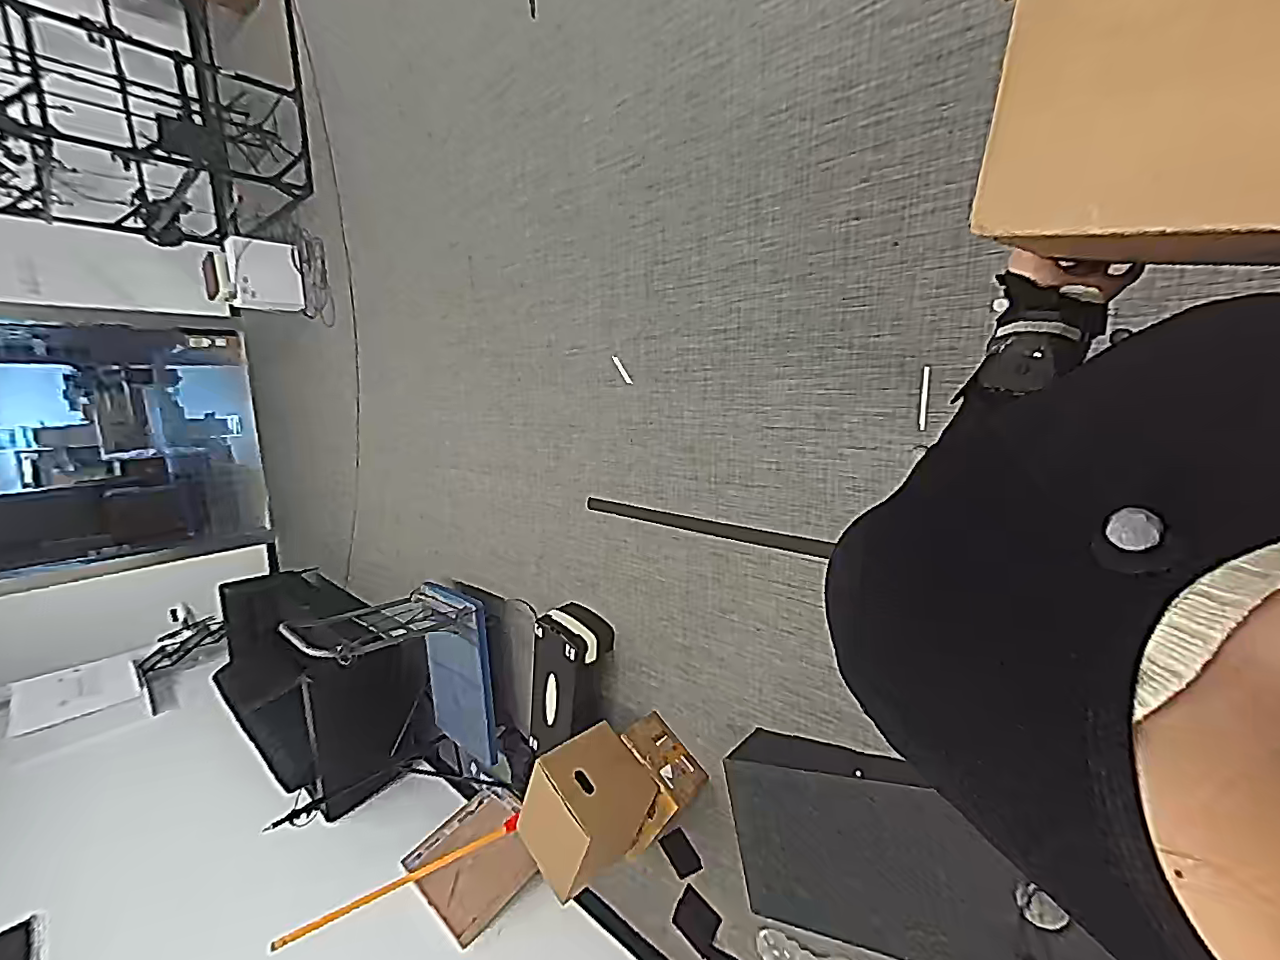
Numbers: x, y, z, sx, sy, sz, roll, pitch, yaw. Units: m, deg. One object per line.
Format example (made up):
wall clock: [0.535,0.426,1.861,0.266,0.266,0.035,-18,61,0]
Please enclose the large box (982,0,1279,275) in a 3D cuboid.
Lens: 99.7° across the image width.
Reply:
large box: [0.465,-0.276,0.269,0.408,0.320,0.320,20,117,42]
